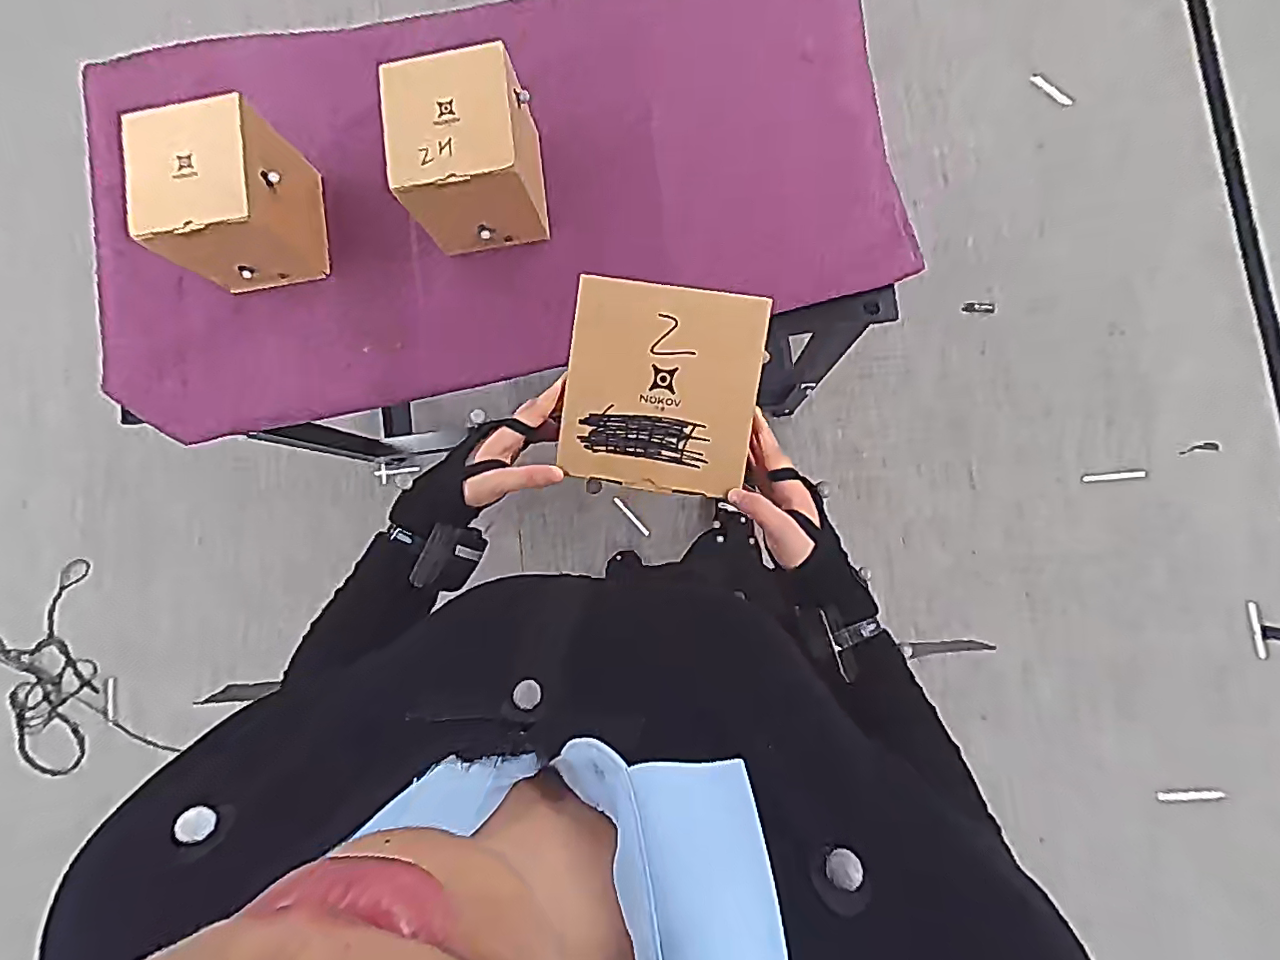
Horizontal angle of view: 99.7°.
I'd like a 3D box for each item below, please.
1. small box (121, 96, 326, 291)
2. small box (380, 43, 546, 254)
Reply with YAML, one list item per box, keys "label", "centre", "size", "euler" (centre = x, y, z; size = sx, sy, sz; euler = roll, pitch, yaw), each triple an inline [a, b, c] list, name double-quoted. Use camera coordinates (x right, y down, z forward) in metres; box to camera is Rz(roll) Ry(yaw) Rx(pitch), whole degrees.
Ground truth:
- label: "small box"
  centre: [-0.586, -0.400, 0.780]
  size: [0.168, 0.176, 0.179]
  euler: [-8, 86, 3]
- label: "small box"
  centre: [-0.236, -0.447, 0.755]
  size: [0.168, 0.176, 0.179]
  euler: [-7, 85, 5]
